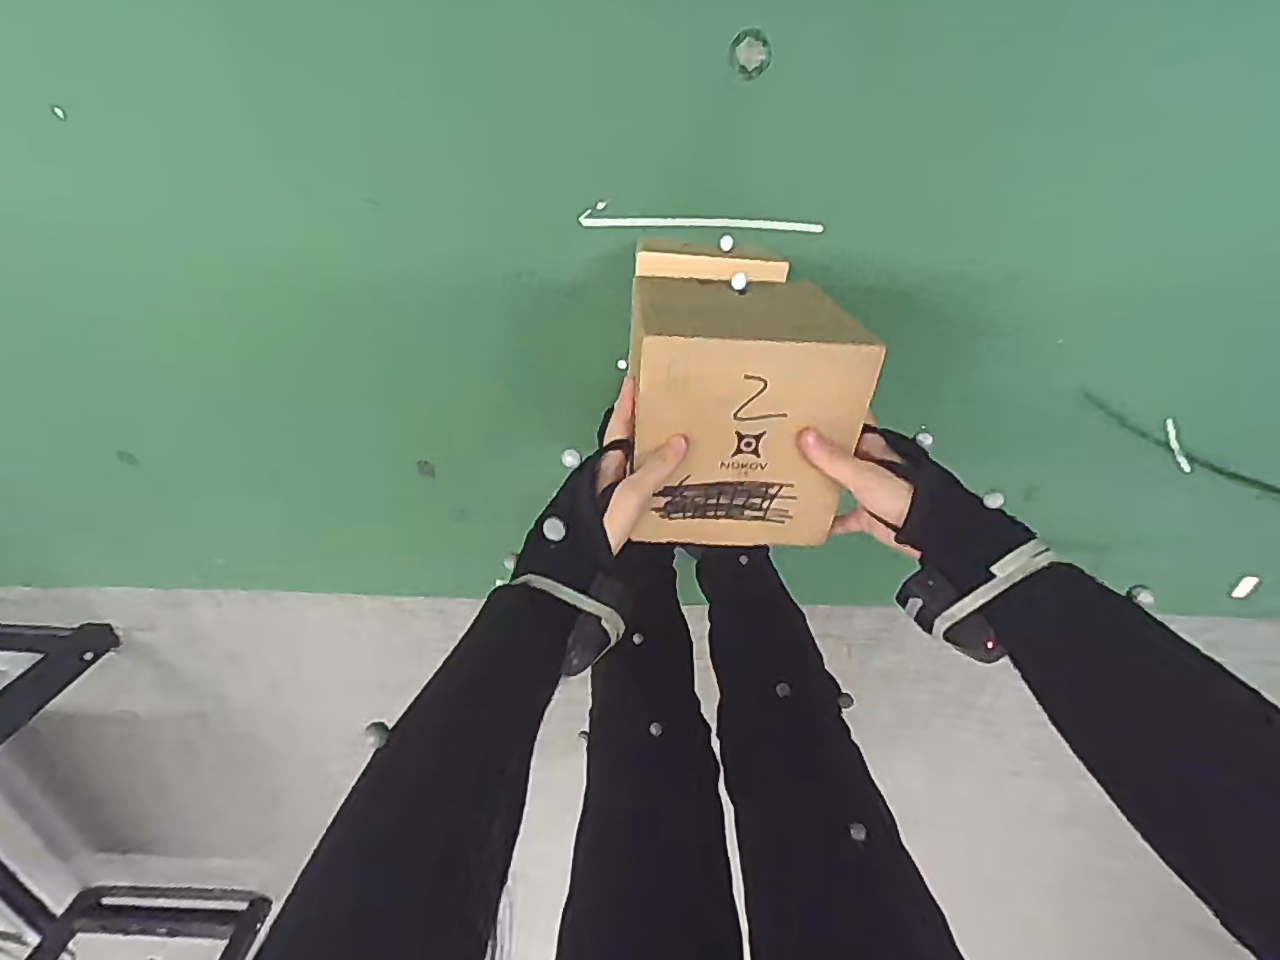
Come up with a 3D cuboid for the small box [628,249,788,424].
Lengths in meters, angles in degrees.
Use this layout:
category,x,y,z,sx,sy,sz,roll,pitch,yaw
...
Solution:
category,x,y,z,sx,sy,sz,roll,pitch,yaw
small box,0.073,-0.189,0.689,0.168,0.176,0.179,4,120,-1
